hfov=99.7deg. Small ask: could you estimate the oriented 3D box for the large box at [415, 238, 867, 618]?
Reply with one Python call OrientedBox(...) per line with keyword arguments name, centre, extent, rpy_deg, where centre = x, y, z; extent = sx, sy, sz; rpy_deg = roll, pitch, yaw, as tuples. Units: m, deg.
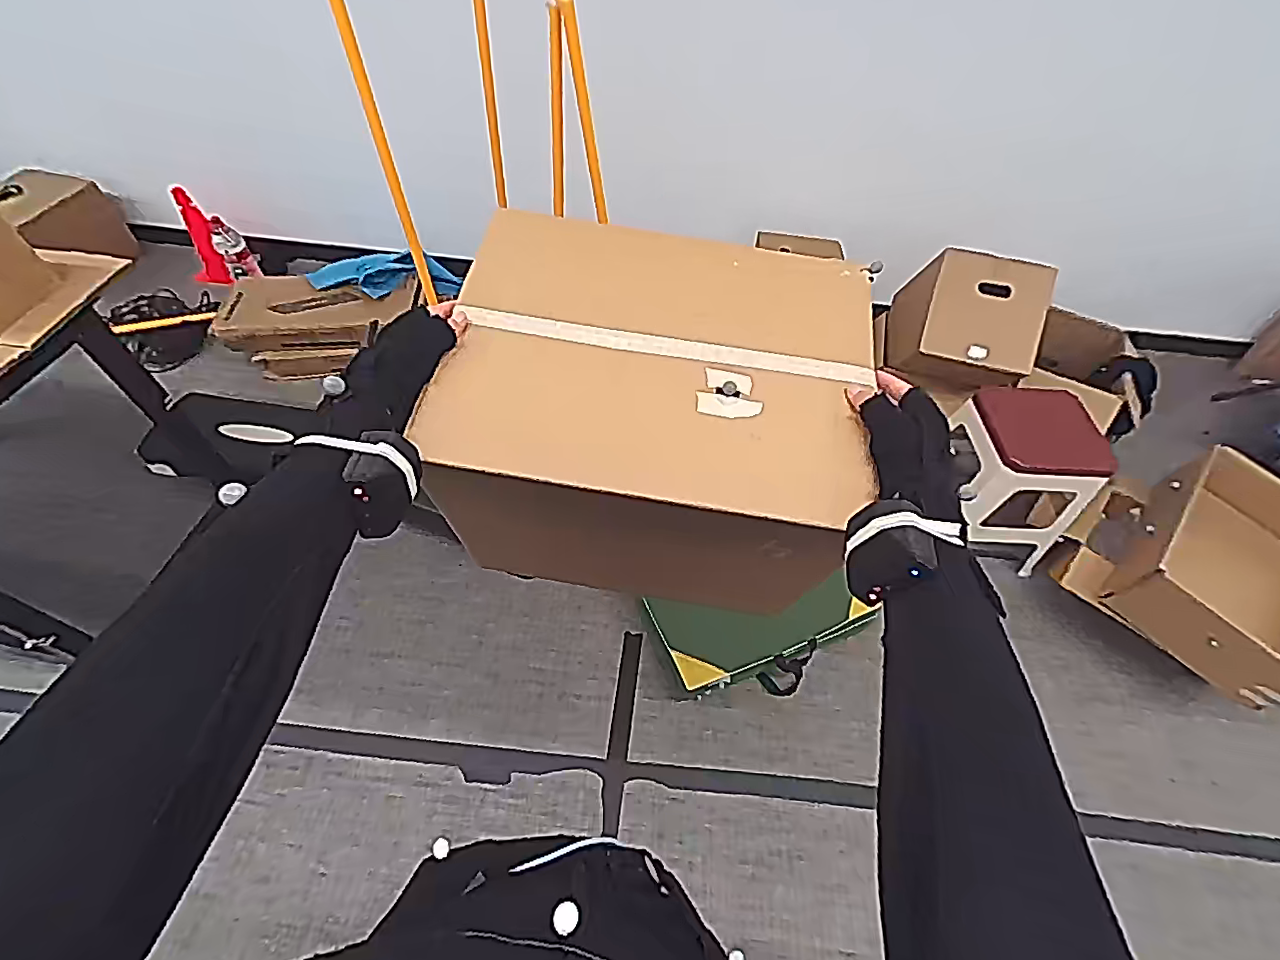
OrientedBox(name="large box", centre=(0.008, -0.041, 0.663), extent=(0.408, 0.320, 0.320), rpy_deg=(9, 63, 0))
